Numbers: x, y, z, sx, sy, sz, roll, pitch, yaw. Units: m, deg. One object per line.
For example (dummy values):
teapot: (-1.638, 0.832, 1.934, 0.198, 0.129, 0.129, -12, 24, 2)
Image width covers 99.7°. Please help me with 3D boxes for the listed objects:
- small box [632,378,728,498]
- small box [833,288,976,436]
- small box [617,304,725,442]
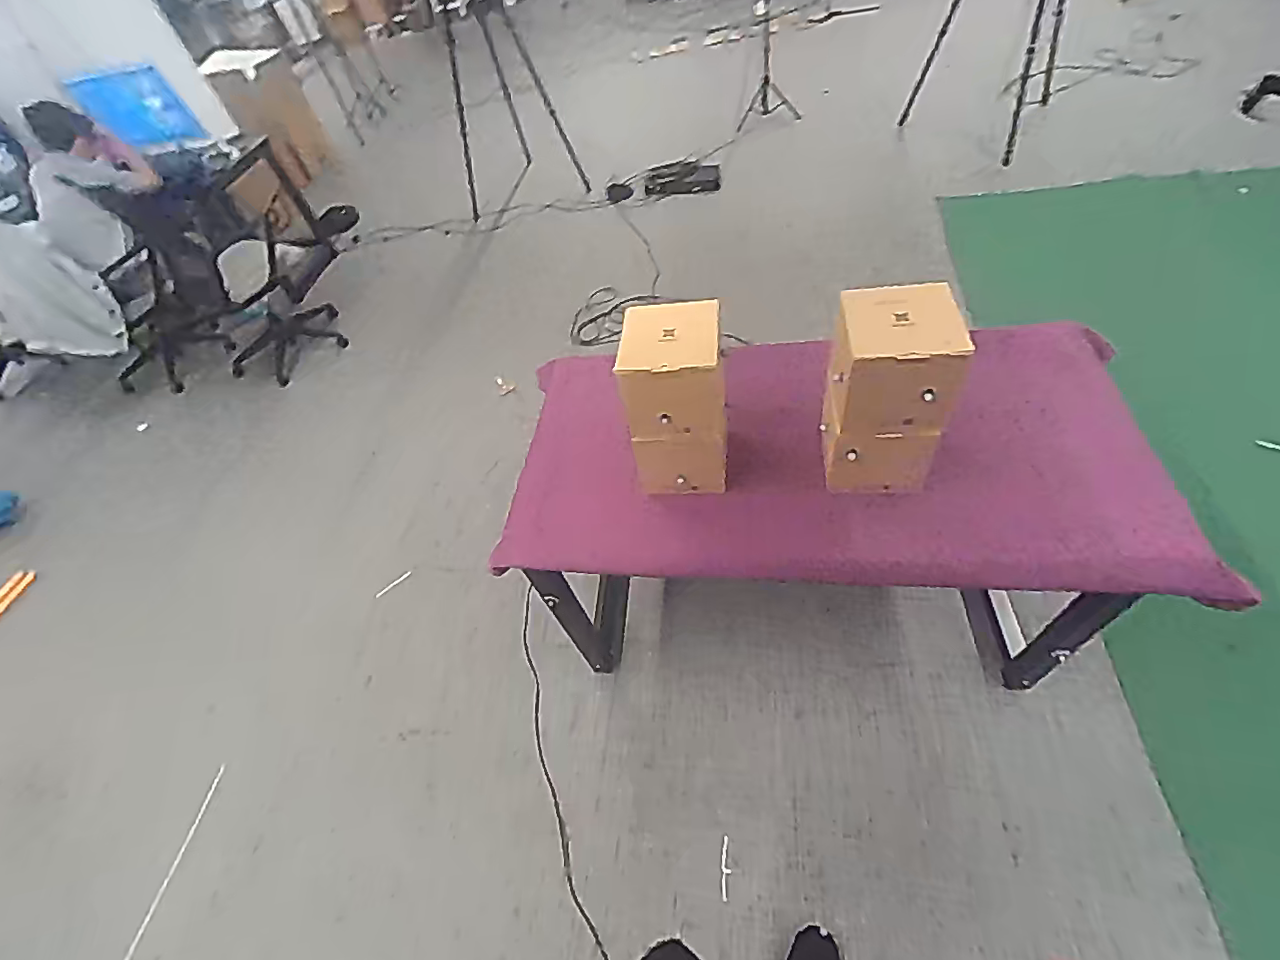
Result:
small box: (0.088, -0.084, 1.078, 0.168, 0.176, 0.179, 0, 52, 12)
small box: (0.414, -0.185, 0.880, 0.168, 0.176, 0.179, 0, 51, 11)
small box: (0.063, -0.186, 0.954, 0.168, 0.176, 0.179, -1, 53, 11)
